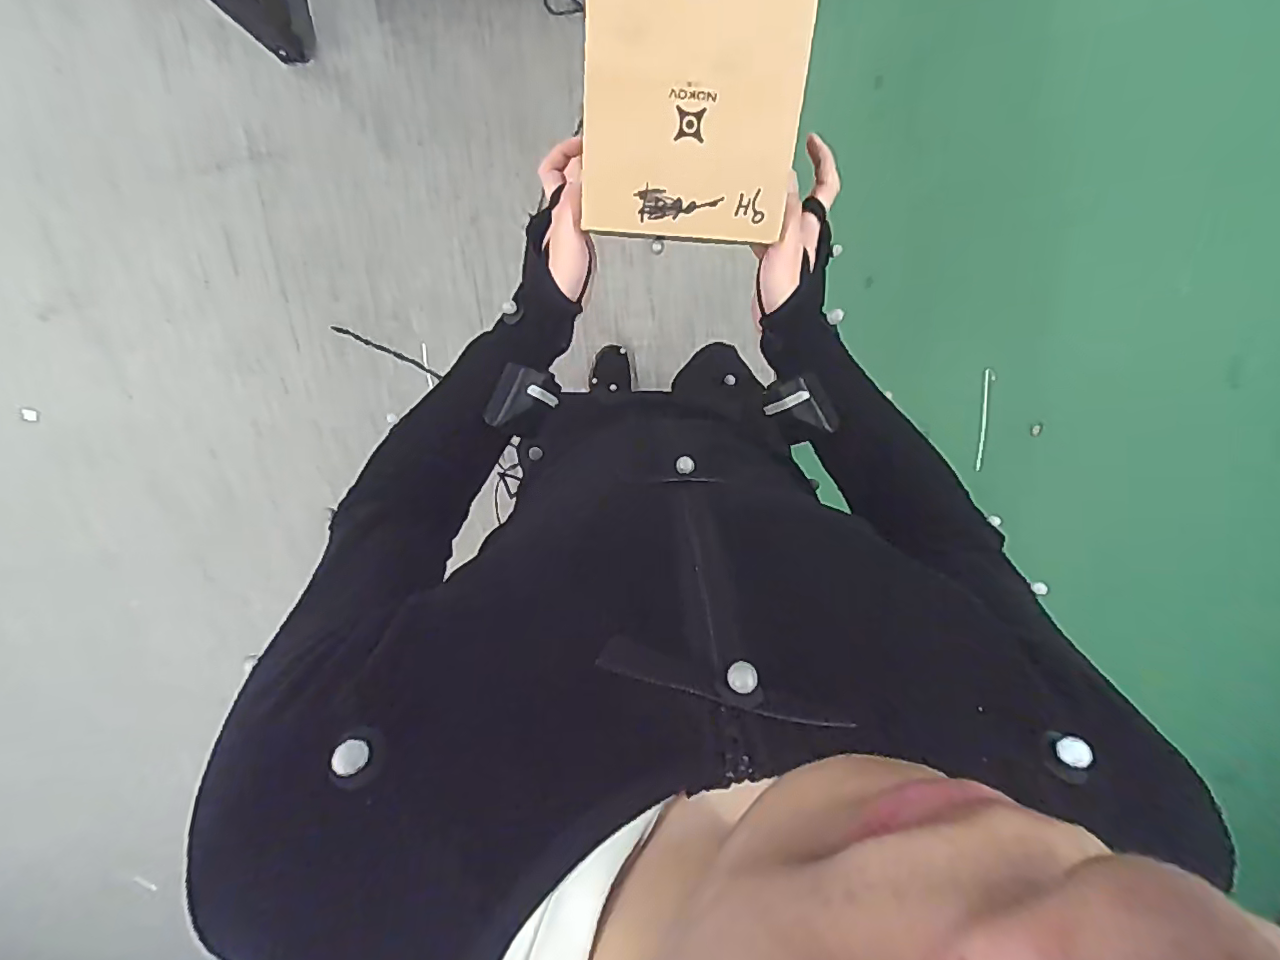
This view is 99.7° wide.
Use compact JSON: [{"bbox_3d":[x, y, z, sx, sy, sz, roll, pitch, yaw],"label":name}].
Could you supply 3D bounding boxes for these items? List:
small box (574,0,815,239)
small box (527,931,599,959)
[{"bbox_3d":[0.033,-0.312,0.469,0.168,0.176,0.179,3,113,-3],"label":"small box"},{"bbox_3d":[-0.178,1.195,1.249,0.168,0.176,0.179,-1,105,-4],"label":"small box"}]
